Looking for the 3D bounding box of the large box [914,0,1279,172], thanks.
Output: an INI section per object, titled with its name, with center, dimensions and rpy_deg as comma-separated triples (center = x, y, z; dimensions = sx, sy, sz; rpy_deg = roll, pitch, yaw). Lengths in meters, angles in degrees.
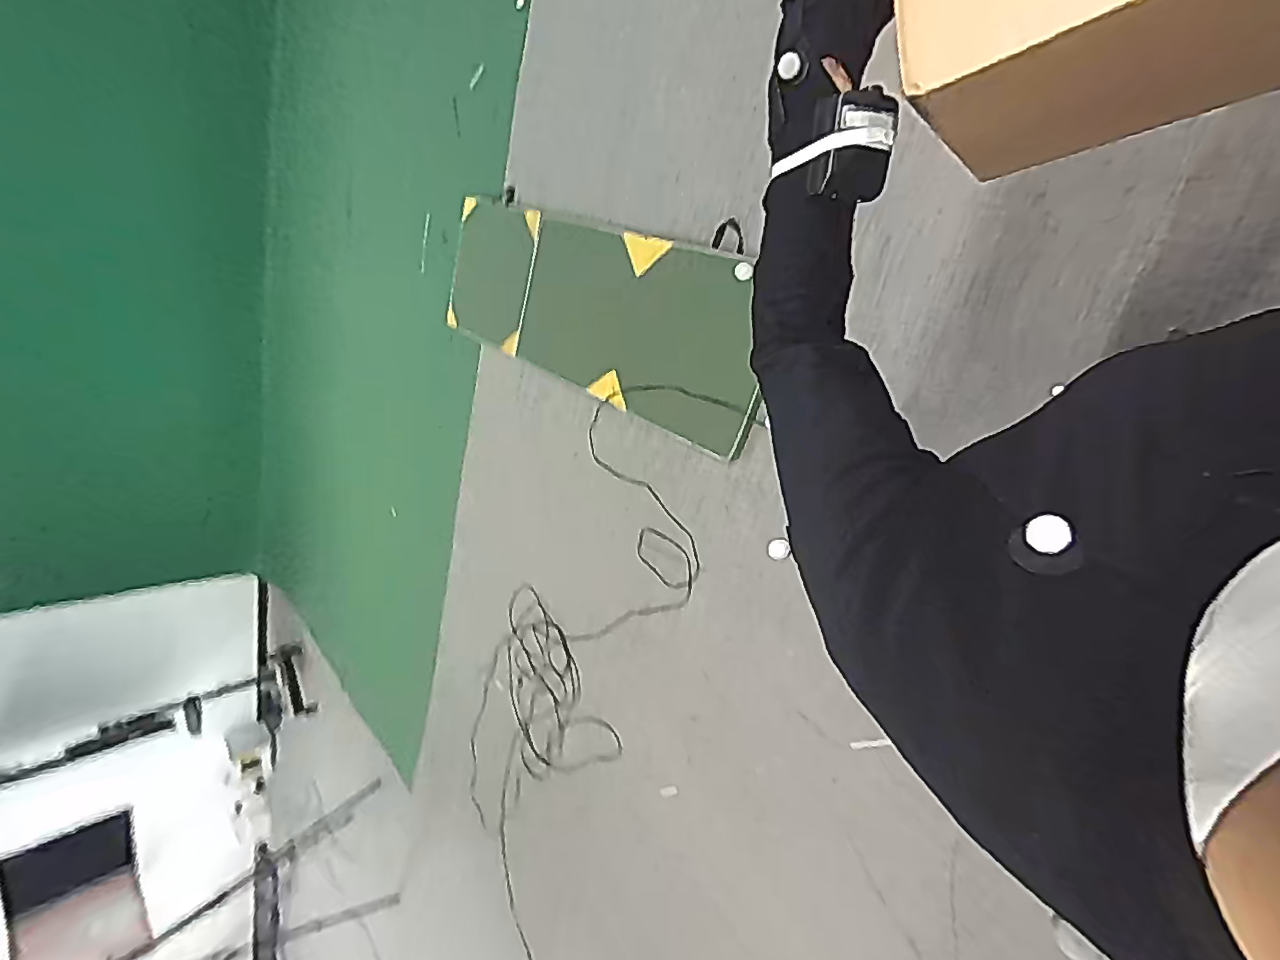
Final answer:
[large box]
center = 0.414, -0.467, 0.347
dimensions = 0.408, 0.320, 0.320
rpy_deg = -3, 101, 40
